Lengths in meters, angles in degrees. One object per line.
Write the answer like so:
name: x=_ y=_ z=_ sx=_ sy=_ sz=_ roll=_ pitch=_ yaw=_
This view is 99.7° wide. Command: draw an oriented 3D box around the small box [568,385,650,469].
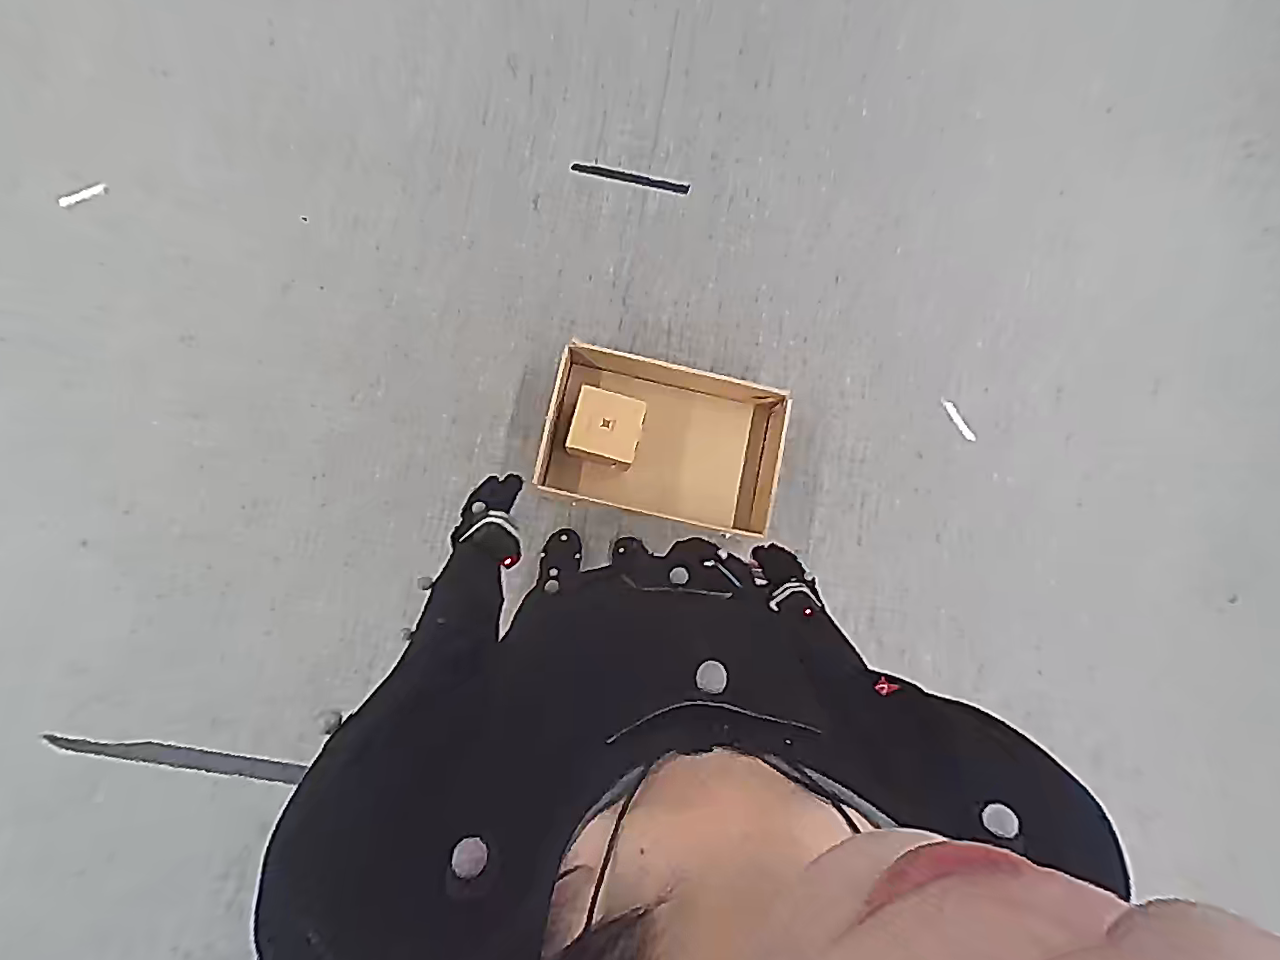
small box: x=-0.085 y=-0.133 z=1.437 sx=0.179 sy=0.176 sz=0.168 roll=15 pitch=83 yaw=-4
